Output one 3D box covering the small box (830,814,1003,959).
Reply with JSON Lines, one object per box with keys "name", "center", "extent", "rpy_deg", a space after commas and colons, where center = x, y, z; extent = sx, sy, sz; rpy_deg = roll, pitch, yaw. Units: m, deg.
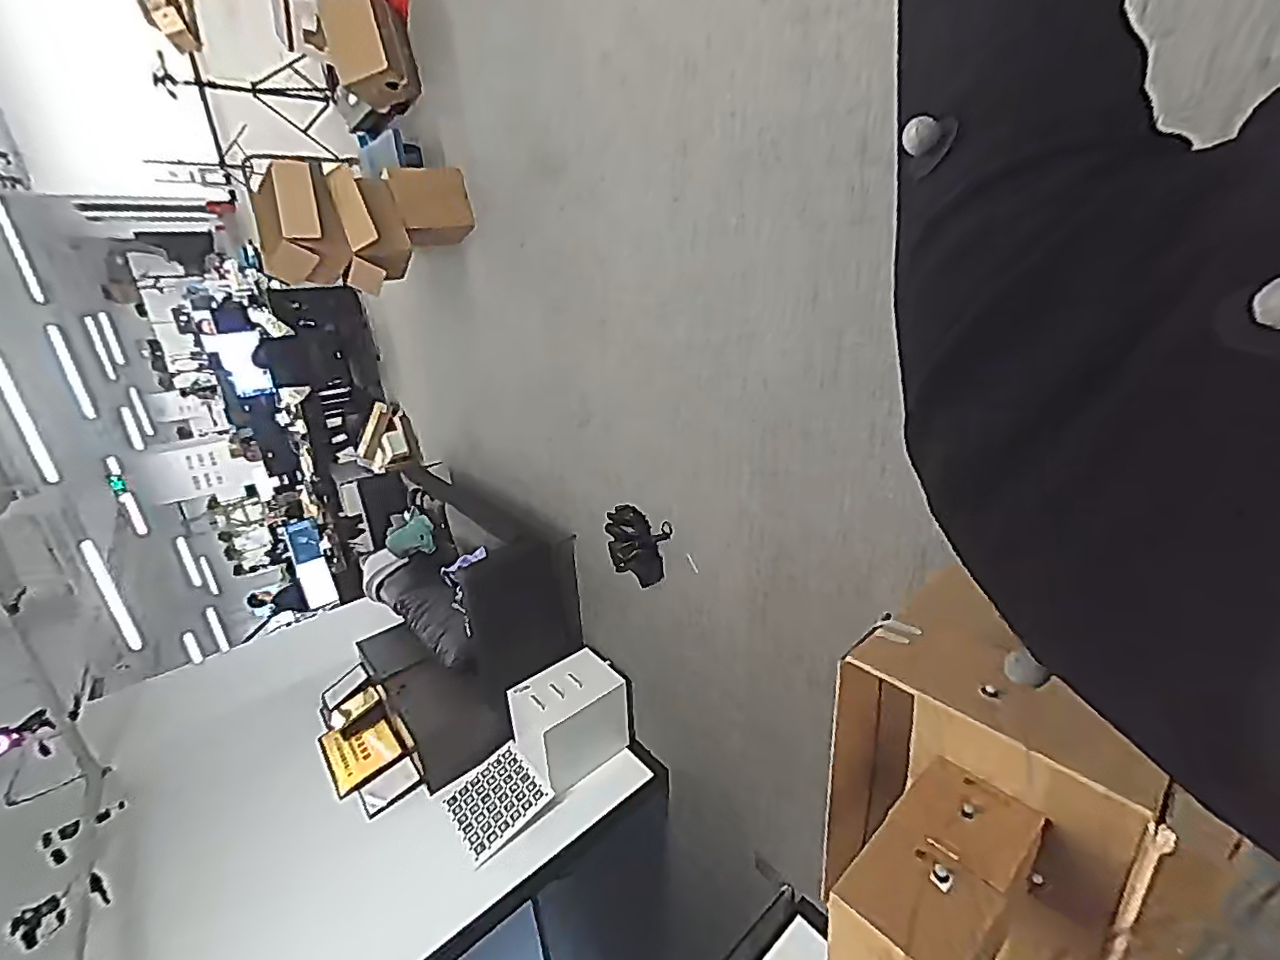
{"name": "small box", "center": [0.390, 0.635, 0.769], "extent": [0.168, 0.176, 0.179], "rpy_deg": [16, 118, 48]}
